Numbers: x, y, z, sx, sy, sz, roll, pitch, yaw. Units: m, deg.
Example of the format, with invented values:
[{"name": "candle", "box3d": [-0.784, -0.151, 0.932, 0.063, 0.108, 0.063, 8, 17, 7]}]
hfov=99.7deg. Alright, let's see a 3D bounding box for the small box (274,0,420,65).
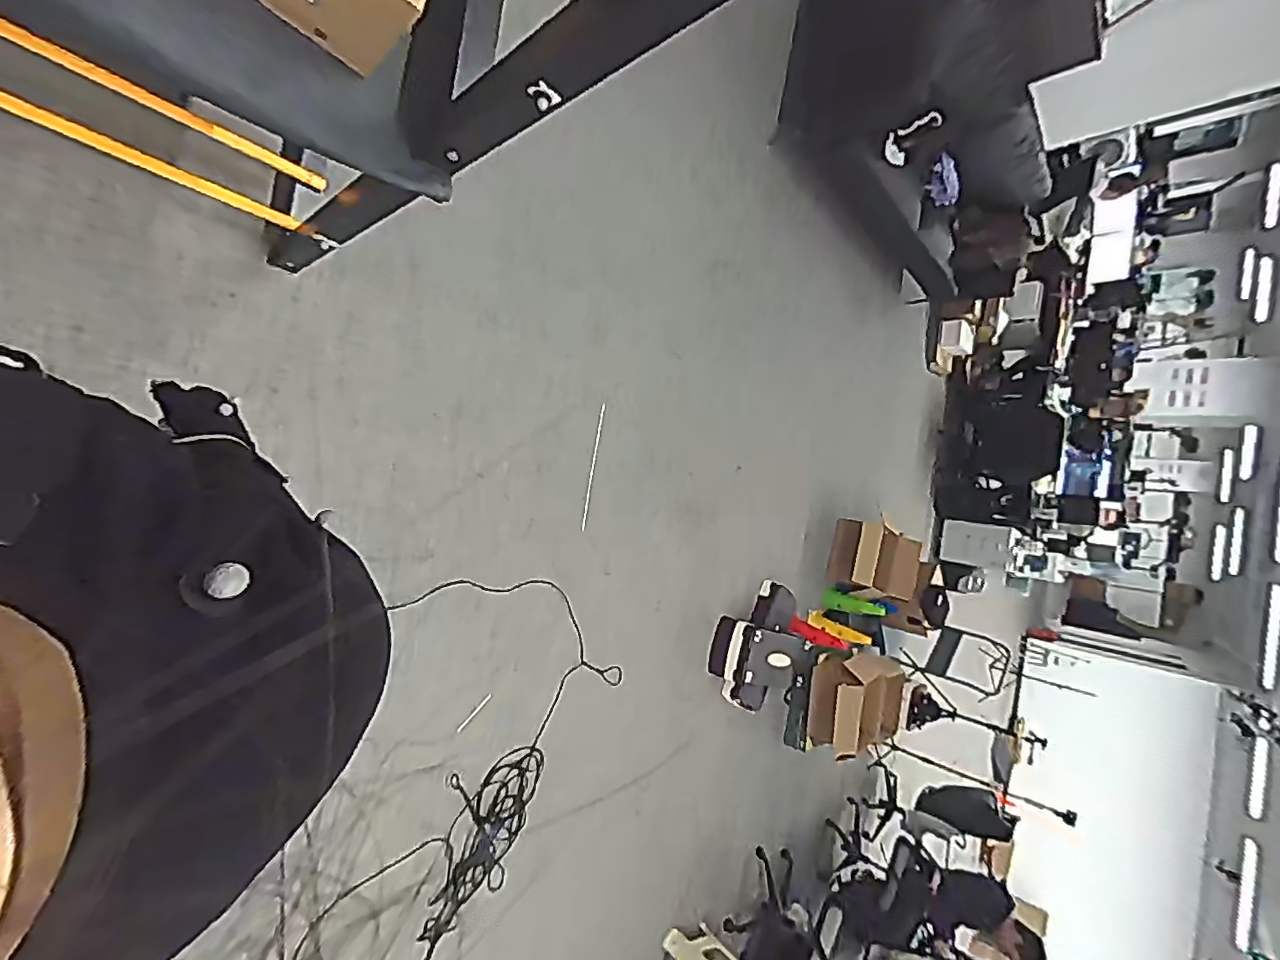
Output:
[{"name": "small box", "box3d": [-0.334, -0.618, 0.594, 0.168, 0.176, 0.179, 18, 81, -46]}]
